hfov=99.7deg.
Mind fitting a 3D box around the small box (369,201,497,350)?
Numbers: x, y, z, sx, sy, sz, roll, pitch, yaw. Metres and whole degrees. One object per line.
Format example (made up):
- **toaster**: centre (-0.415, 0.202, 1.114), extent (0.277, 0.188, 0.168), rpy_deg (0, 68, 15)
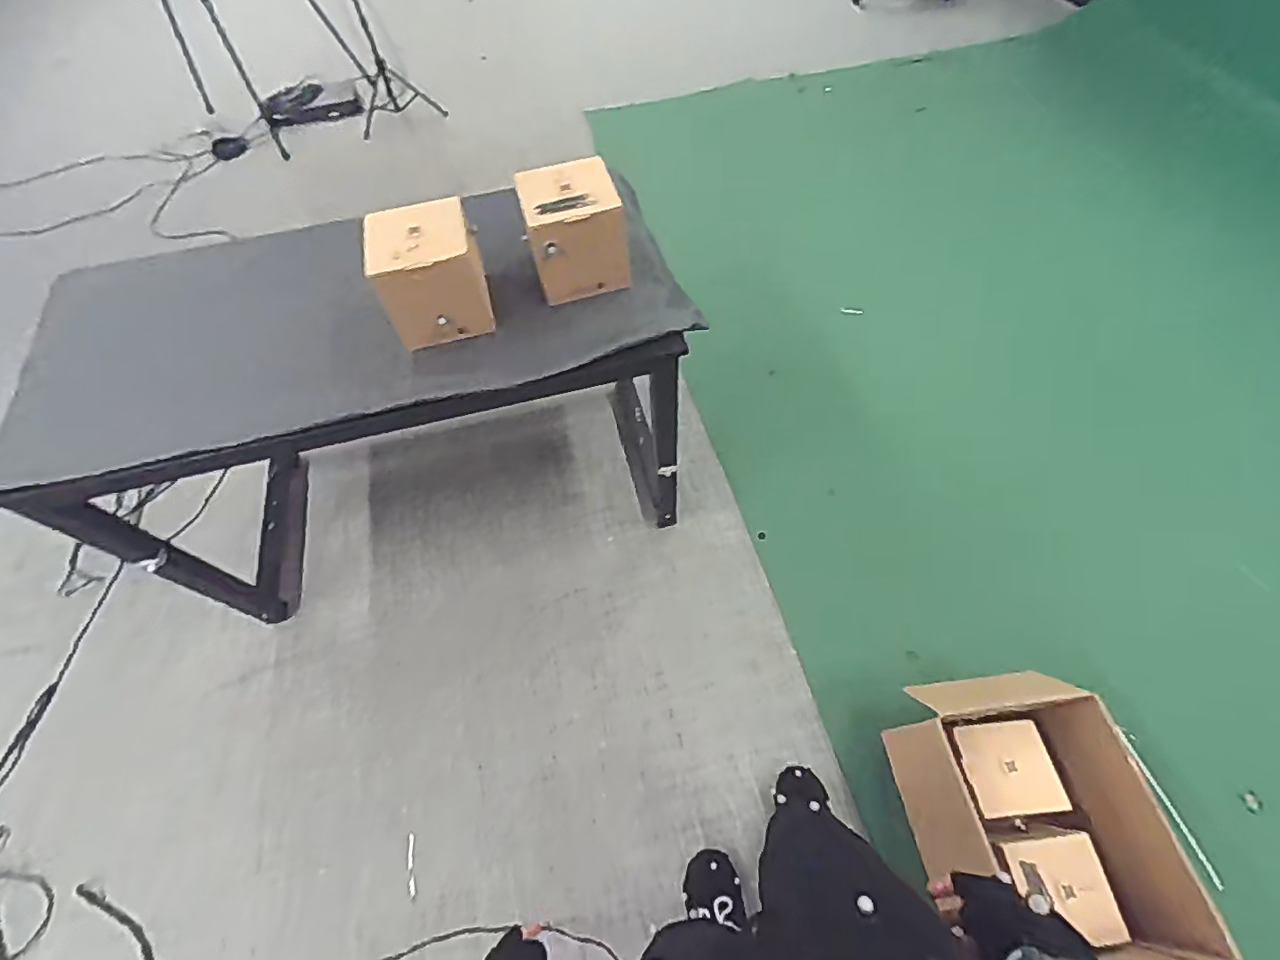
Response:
- **small box**: centre (-0.368, -0.366, 0.978), extent (0.168, 0.176, 0.179), rpy_deg (-15, 59, -5)
